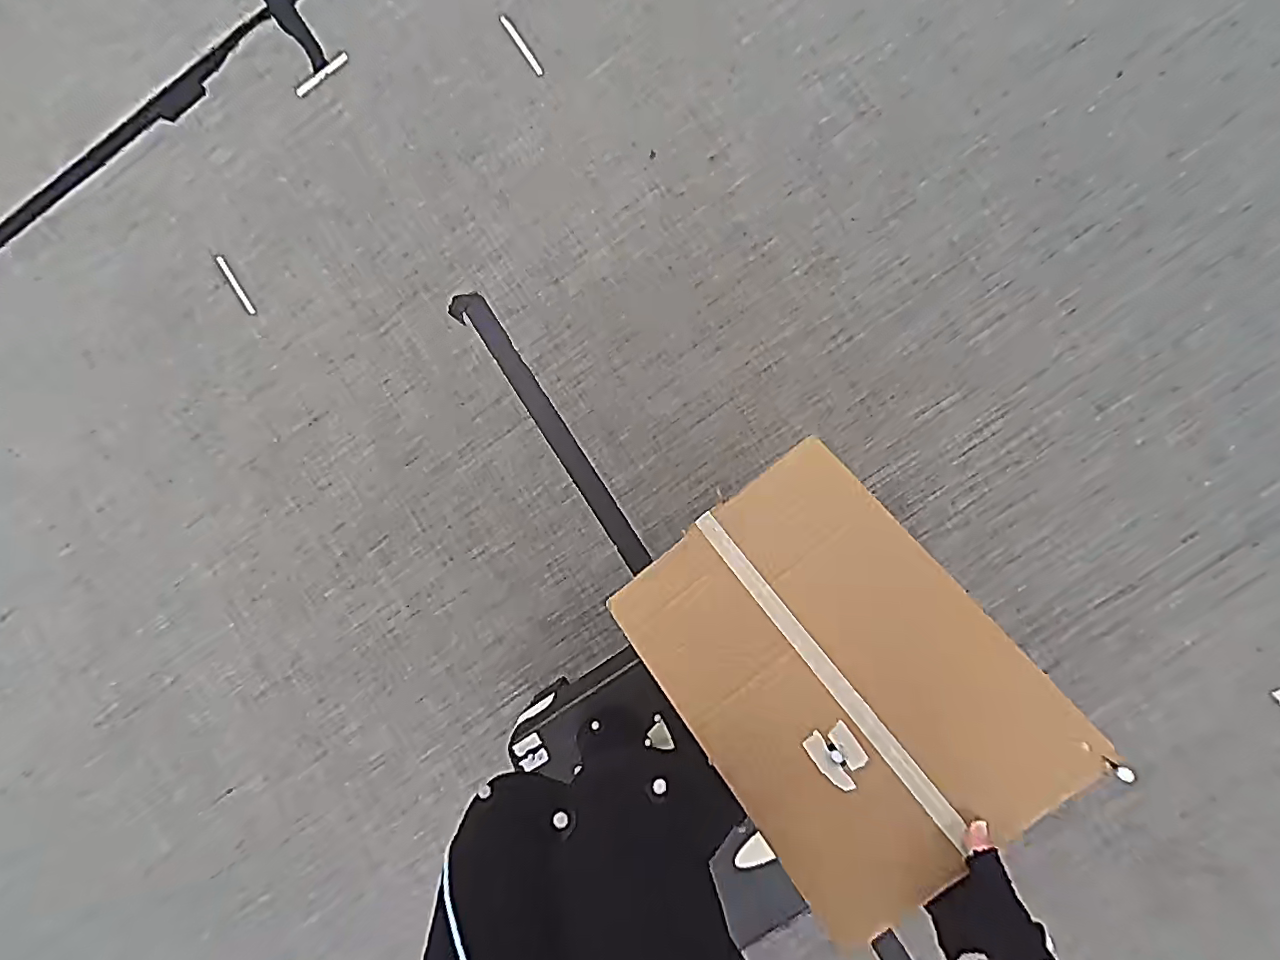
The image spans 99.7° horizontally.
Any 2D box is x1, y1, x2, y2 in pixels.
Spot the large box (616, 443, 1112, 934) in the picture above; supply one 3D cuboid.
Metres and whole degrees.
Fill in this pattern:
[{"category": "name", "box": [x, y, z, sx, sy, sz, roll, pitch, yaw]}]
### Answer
[{"category": "large box", "box": [0.240, 0.224, 0.708, 0.320, 0.320, 0.408, -41, 69, 6]}]
